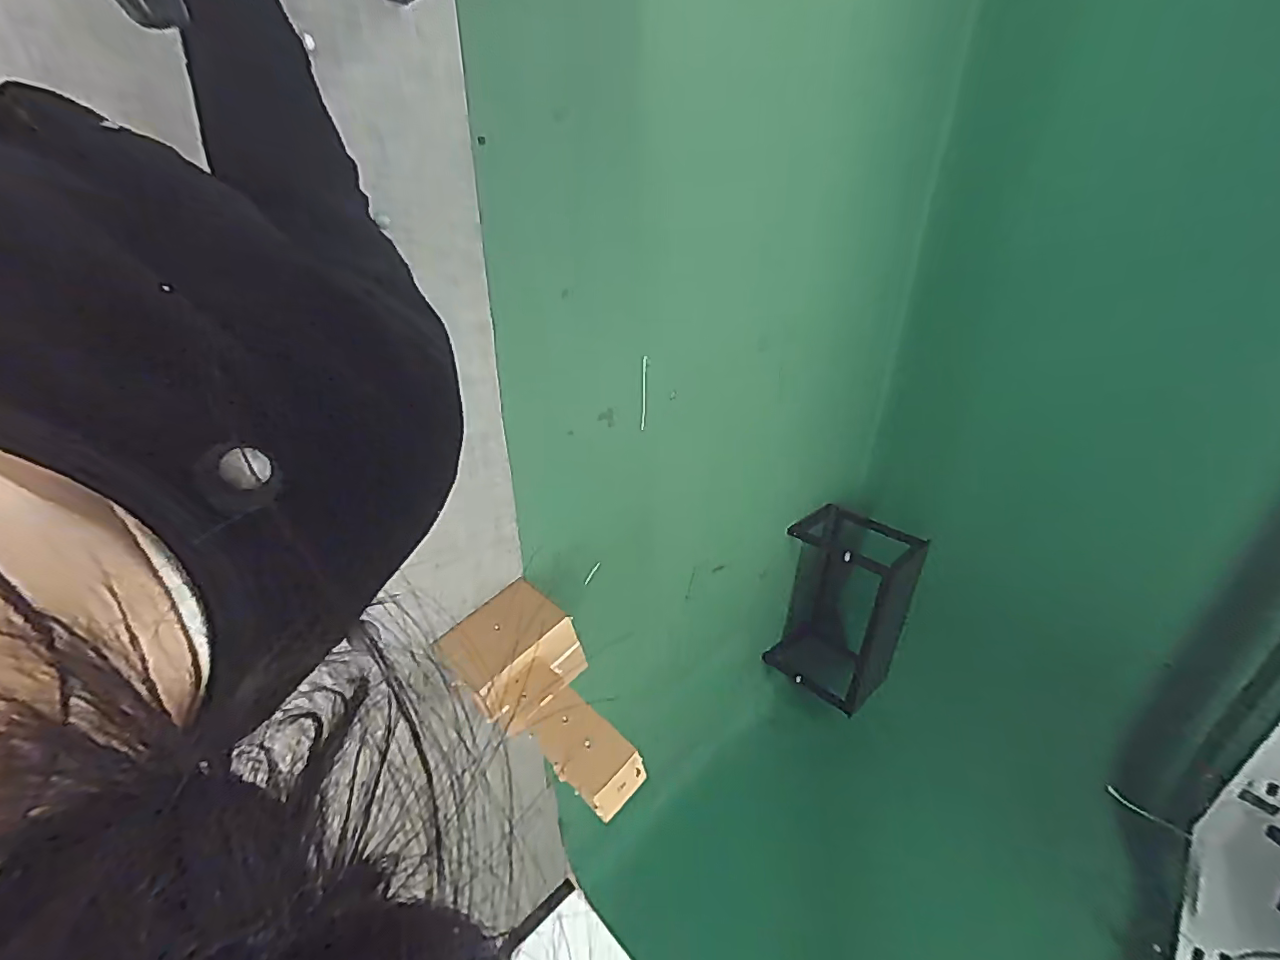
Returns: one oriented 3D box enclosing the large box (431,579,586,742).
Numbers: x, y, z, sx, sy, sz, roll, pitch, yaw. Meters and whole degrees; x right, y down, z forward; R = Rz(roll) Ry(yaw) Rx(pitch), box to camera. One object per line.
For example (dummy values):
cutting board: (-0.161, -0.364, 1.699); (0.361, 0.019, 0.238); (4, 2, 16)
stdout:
large box: (-0.472, 0.648, 1.985); (0.408, 0.320, 0.320); (-38, 135, -30)

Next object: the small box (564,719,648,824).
small box: (-0.105, 0.855, 1.596); (0.179, 0.176, 0.168); (-36, 133, -28)

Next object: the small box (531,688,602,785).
small box: (-0.222, 0.800, 1.698); (0.179, 0.176, 0.168); (-38, 133, -29)

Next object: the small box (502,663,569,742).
small box: (-0.334, 0.741, 1.802); (0.168, 0.176, 0.179); (-36, 133, -30)
